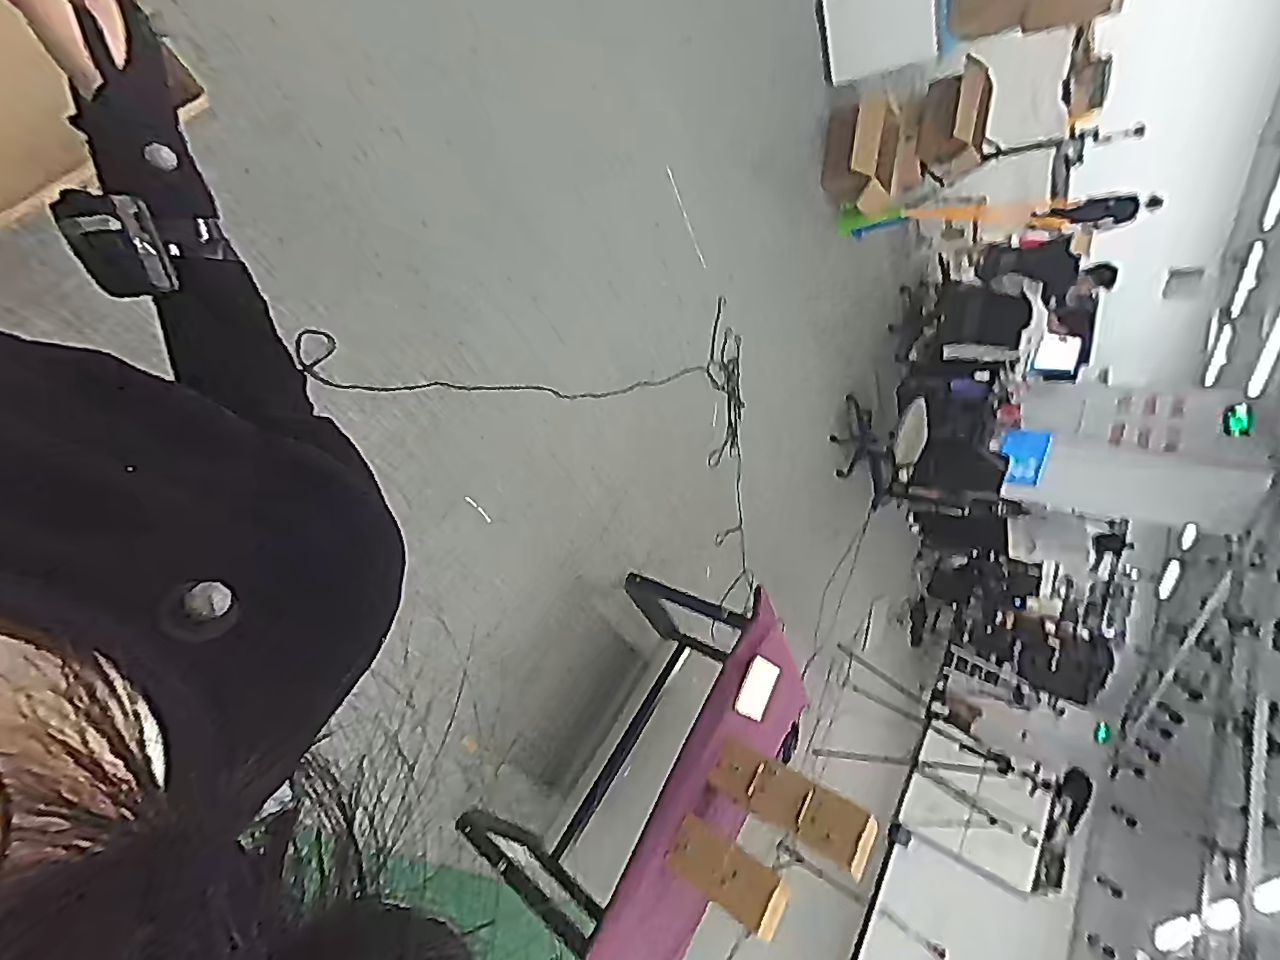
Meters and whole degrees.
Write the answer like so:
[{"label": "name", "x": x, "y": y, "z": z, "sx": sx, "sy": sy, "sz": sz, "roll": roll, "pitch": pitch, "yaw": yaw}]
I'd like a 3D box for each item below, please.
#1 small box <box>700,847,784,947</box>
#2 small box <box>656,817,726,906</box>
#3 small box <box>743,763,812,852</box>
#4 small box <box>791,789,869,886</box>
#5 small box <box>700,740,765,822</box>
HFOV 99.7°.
[{"label": "small box", "x": 0.307, "y": 1.250, "z": 1.628, "sx": 0.168, "sy": 0.176, "sz": 0.179, "roll": -52, "pitch": 136, "yaw": -26}, {"label": "small box", "x": 0.181, "y": 1.216, "z": 1.724, "sx": 0.168, "sy": 0.176, "sz": 0.179, "roll": -53, "pitch": 136, "yaw": -27}, {"label": "small box", "x": 0.452, "y": 1.048, "z": 1.742, "sx": 0.168, "sy": 0.176, "sz": 0.179, "roll": -52, "pitch": 136, "yaw": -26}, {"label": "small box", "x": 0.573, "y": 1.075, "z": 1.636, "sx": 0.168, "sy": 0.176, "sz": 0.179, "roll": -51, "pitch": 135, "yaw": -26}, {"label": "small box", "x": 0.330, "y": 1.023, "z": 1.850, "sx": 0.168, "sy": 0.176, "sz": 0.179, "roll": -52, "pitch": 134, "yaw": -26}]
